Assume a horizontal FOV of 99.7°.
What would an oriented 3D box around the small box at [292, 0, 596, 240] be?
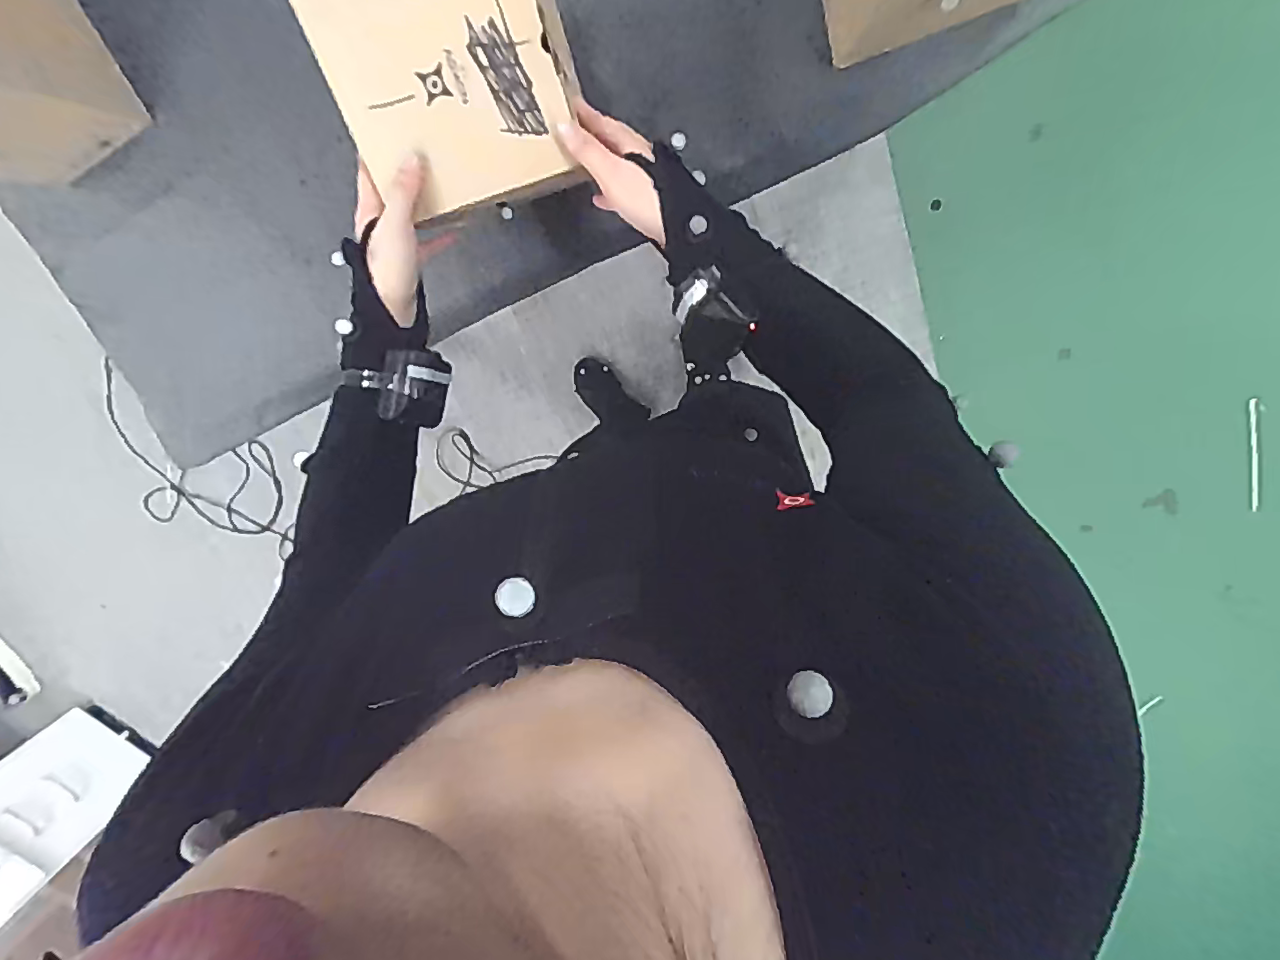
[{"bbox_3d":[-0.143,-0.328,0.477,0.179,0.176,0.168,-13,117,9],"label":"small box"}]
